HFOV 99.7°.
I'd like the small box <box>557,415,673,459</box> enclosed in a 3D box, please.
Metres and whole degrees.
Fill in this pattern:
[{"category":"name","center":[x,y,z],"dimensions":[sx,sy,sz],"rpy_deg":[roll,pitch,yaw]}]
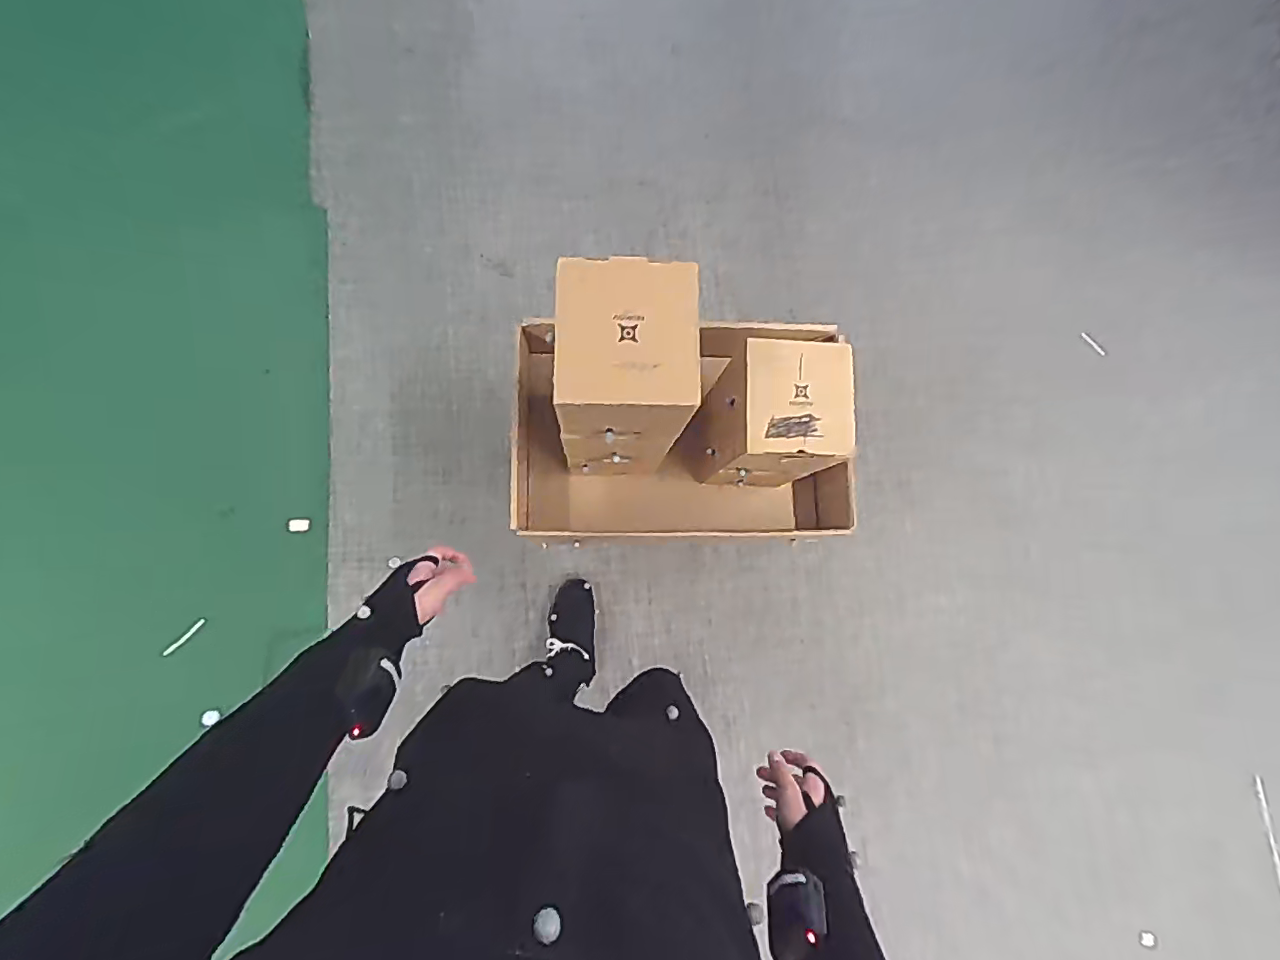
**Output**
[{"category":"small box","center":[-0.041,-0.135,0.844],"dimensions":[0.168,0.176,0.179],"rpy_deg":[0,81,-4]}]

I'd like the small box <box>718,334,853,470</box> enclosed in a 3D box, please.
[{"category":"small box","center":[0.223,-0.114,0.865],"dimensions":[0.168,0.176,0.179],"rpy_deg":[2,81,-5]}]

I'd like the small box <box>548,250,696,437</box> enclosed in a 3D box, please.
[{"category":"small box","center":[-0.025,-0.160,0.683],"dimensions":[0.168,0.176,0.179],"rpy_deg":[1,81,-4]}]
